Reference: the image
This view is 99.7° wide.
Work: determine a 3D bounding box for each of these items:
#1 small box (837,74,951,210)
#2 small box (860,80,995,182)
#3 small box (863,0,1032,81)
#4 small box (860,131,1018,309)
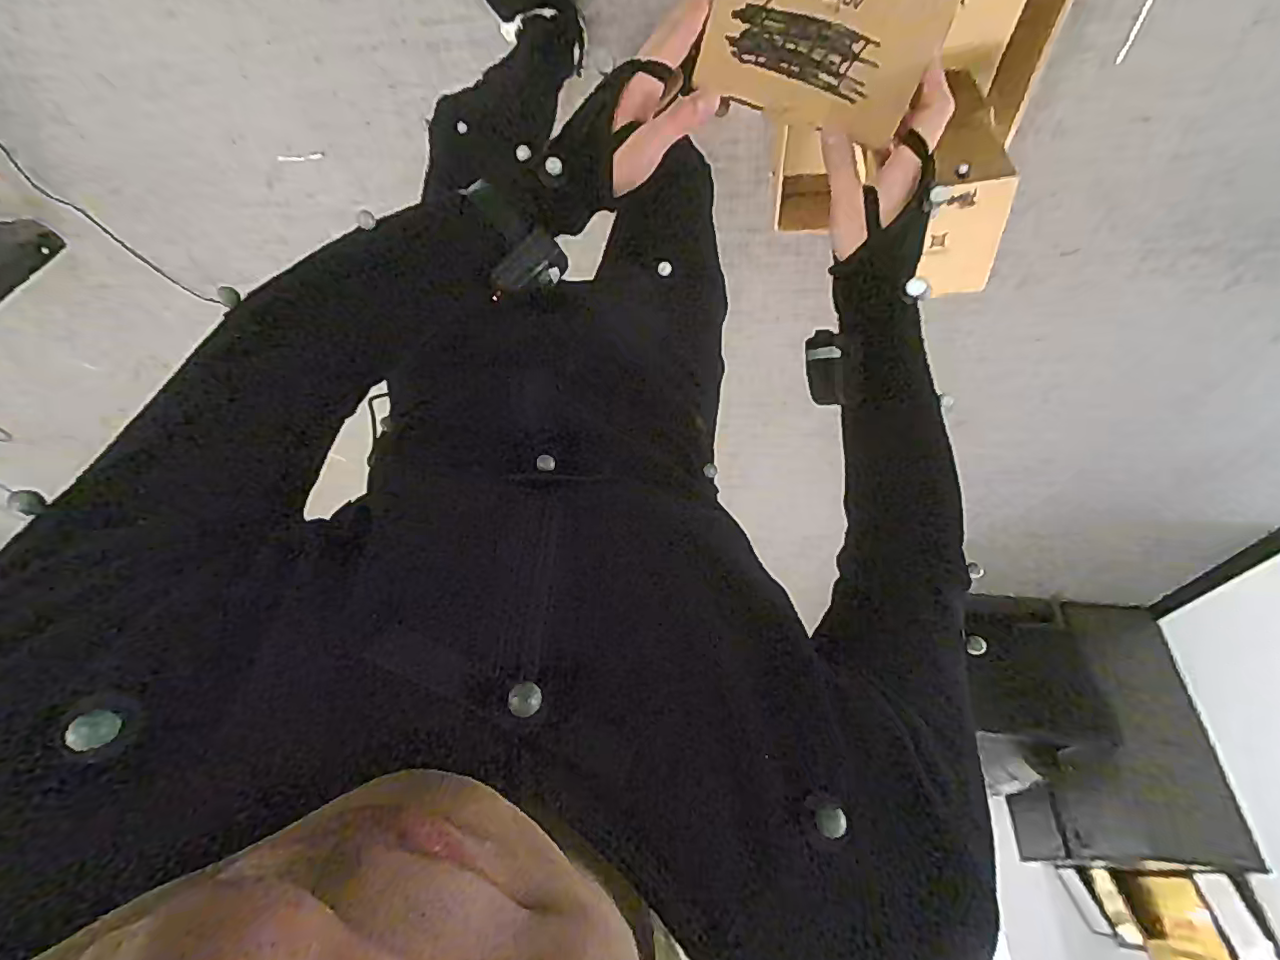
[{"bbox_3d":[0.471,-0.648,1.016,0.179,0.176,0.168,-8,142,21],"label":"small box"},{"bbox_3d":[0.481,-0.519,0.912,0.179,0.176,0.168,-15,139,29],"label":"small box"},{"bbox_3d":[0.410,-0.665,0.717,0.168,0.176,0.179,4,146,4],"label":"small box"},{"bbox_3d":[0.435,-0.389,0.821,0.168,0.176,0.179,-2,145,14],"label":"small box"}]
